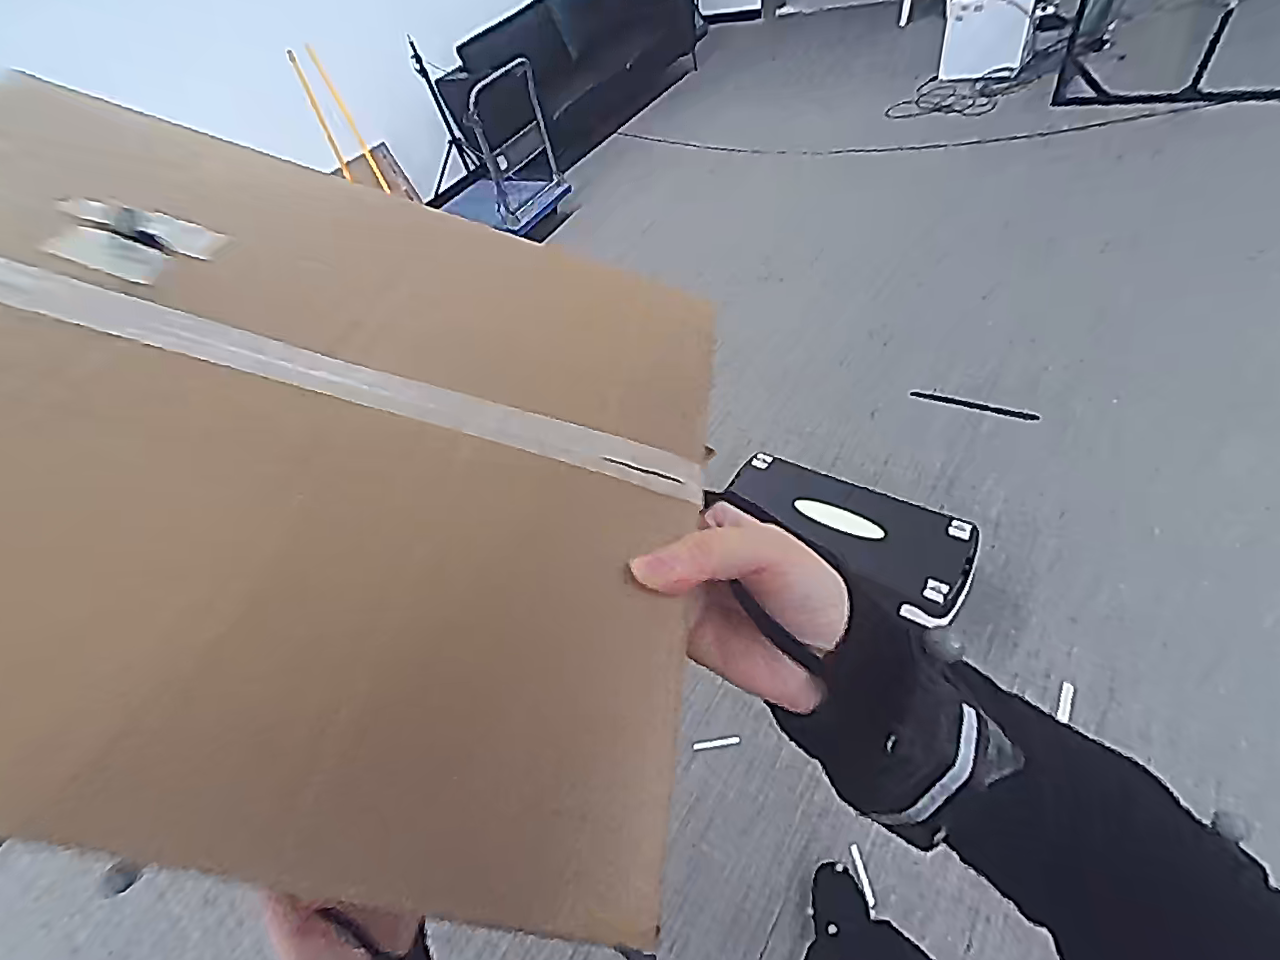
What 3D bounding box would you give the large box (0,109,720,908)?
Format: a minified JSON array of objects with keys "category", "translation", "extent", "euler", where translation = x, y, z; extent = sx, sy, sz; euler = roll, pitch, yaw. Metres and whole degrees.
[{"category":"large box","translation":[-0.193,0.042,0.346],"extent":[0.408,0.320,0.320],"euler":[16,50,-4]}]
